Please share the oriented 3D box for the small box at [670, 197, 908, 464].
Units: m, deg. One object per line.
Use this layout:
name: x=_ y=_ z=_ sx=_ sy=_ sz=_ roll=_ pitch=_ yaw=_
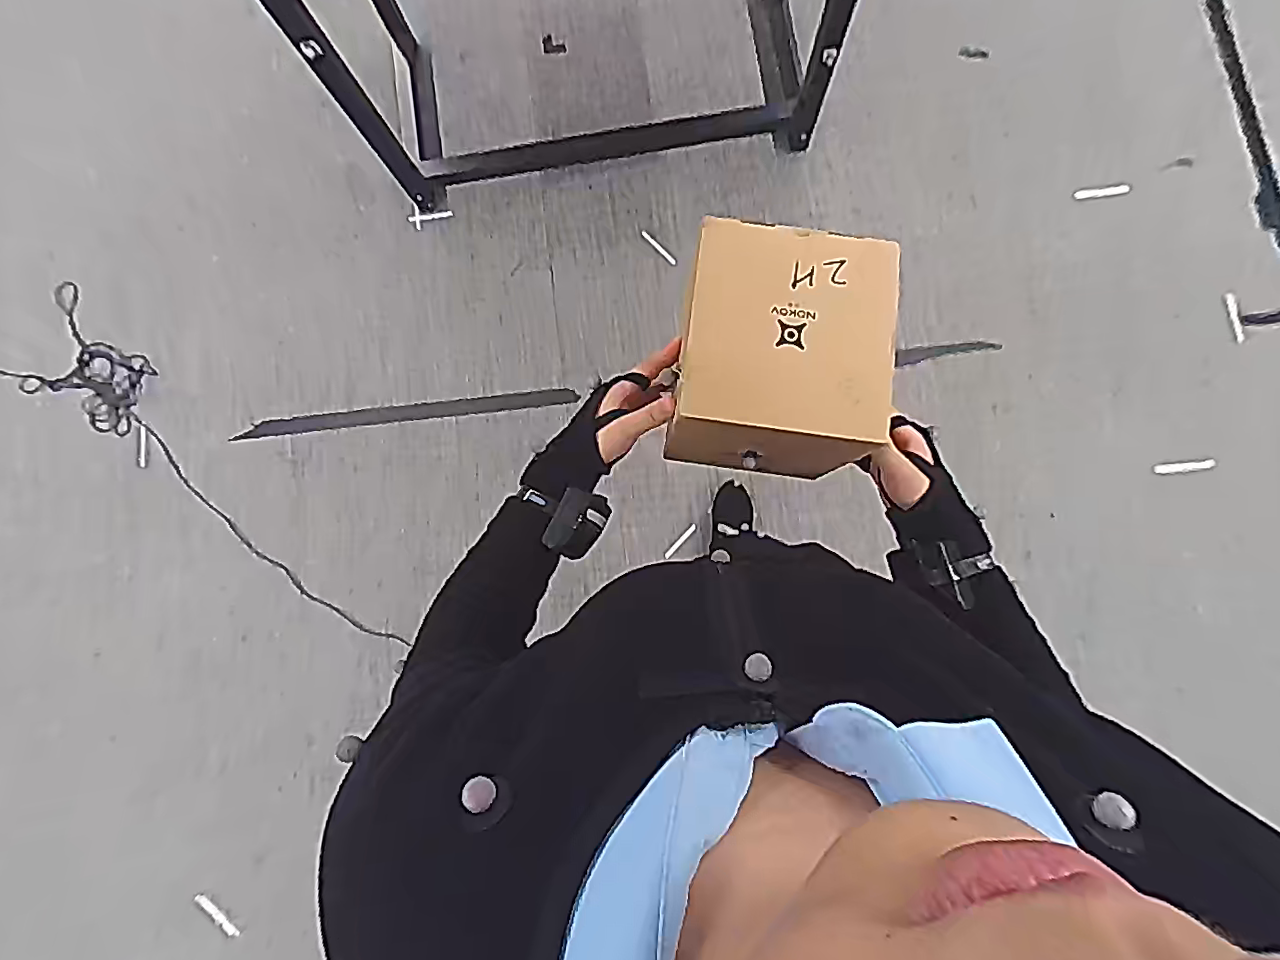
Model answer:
small box: x=0.122 y=-0.120 z=0.500 sx=0.168 sy=0.176 sz=0.179 roll=8 pitch=79 yaw=0
